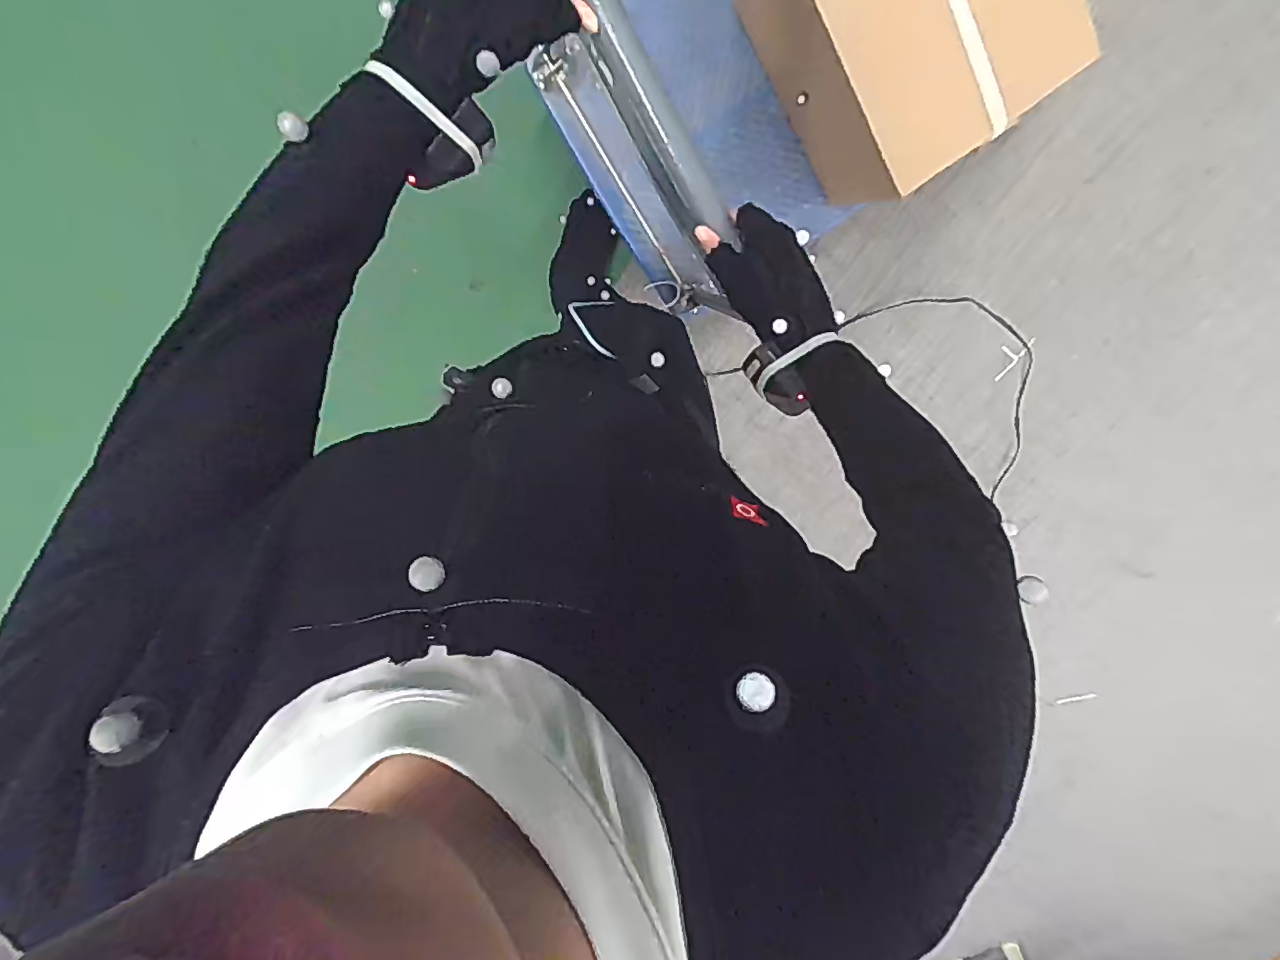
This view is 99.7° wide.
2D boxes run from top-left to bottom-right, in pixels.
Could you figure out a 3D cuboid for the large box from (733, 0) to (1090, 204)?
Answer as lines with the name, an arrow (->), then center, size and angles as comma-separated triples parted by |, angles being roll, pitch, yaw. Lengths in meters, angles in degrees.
large box -> 0.400, -0.723, 0.866 | 0.320, 0.320, 0.408 | -33, 111, 12
